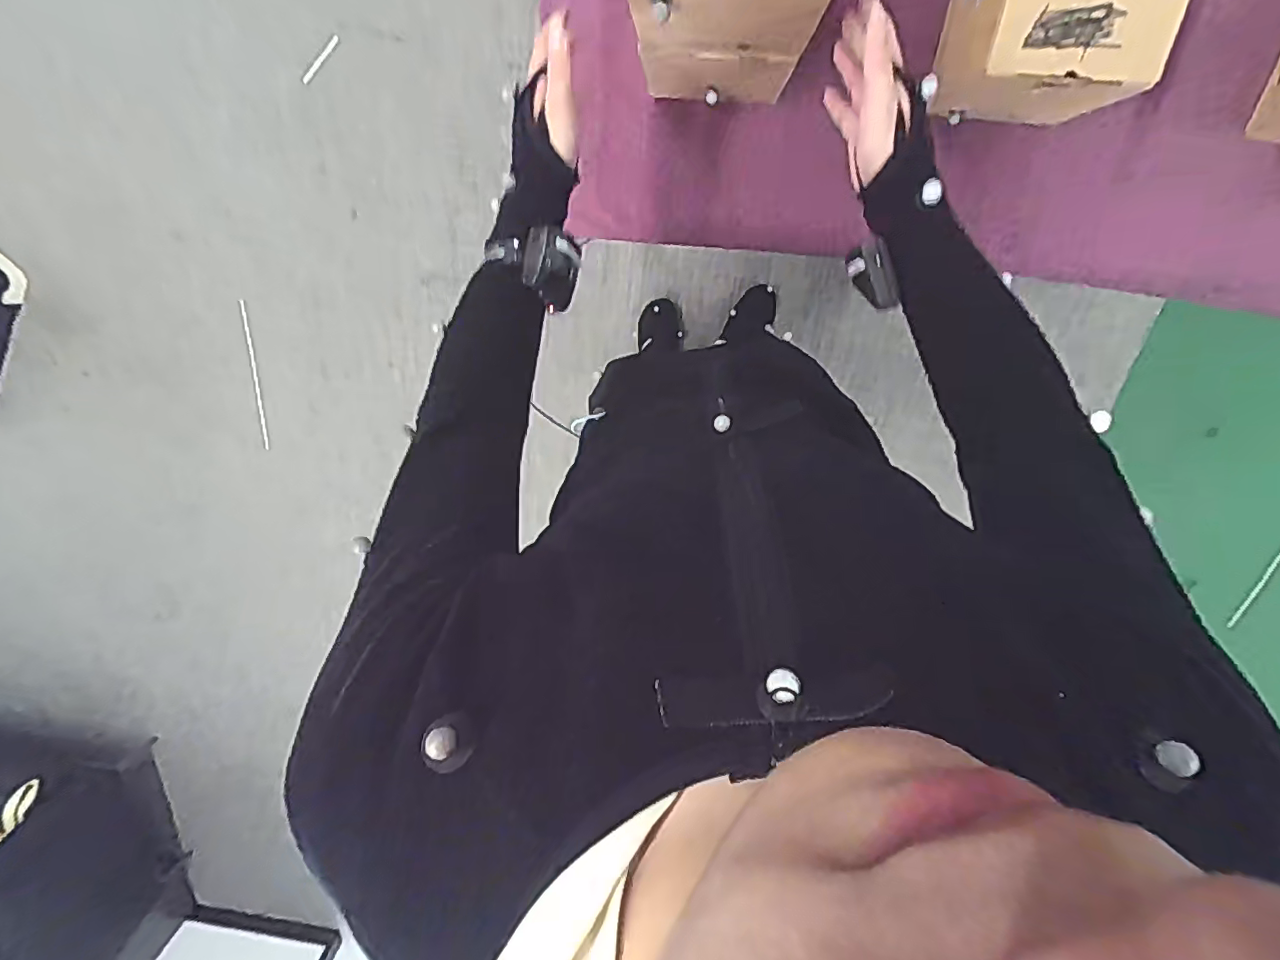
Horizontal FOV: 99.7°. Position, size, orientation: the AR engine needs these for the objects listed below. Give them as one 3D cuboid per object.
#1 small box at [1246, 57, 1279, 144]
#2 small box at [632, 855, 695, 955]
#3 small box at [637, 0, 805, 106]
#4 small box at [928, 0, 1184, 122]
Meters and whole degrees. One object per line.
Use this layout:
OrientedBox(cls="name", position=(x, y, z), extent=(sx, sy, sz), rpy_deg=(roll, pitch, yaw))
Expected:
OrientedBox(cls="small box", position=(0.822, -0.447, 0.553), extent=(0.179, 0.176, 0.168), rpy_deg=(9, 113, 3))
OrientedBox(cls="small box", position=(0.078, 1.332, 1.701), extent=(0.168, 0.176, 0.179), rpy_deg=(11, 112, 3))
OrientedBox(cls="small box", position=(0.091, -0.542, 0.595), extent=(0.168, 0.176, 0.179), rpy_deg=(6, 113, 4))
OrientedBox(cls="small box", position=(0.435, -0.502, 0.574), extent=(0.168, 0.176, 0.179), rpy_deg=(7, 112, 3))
